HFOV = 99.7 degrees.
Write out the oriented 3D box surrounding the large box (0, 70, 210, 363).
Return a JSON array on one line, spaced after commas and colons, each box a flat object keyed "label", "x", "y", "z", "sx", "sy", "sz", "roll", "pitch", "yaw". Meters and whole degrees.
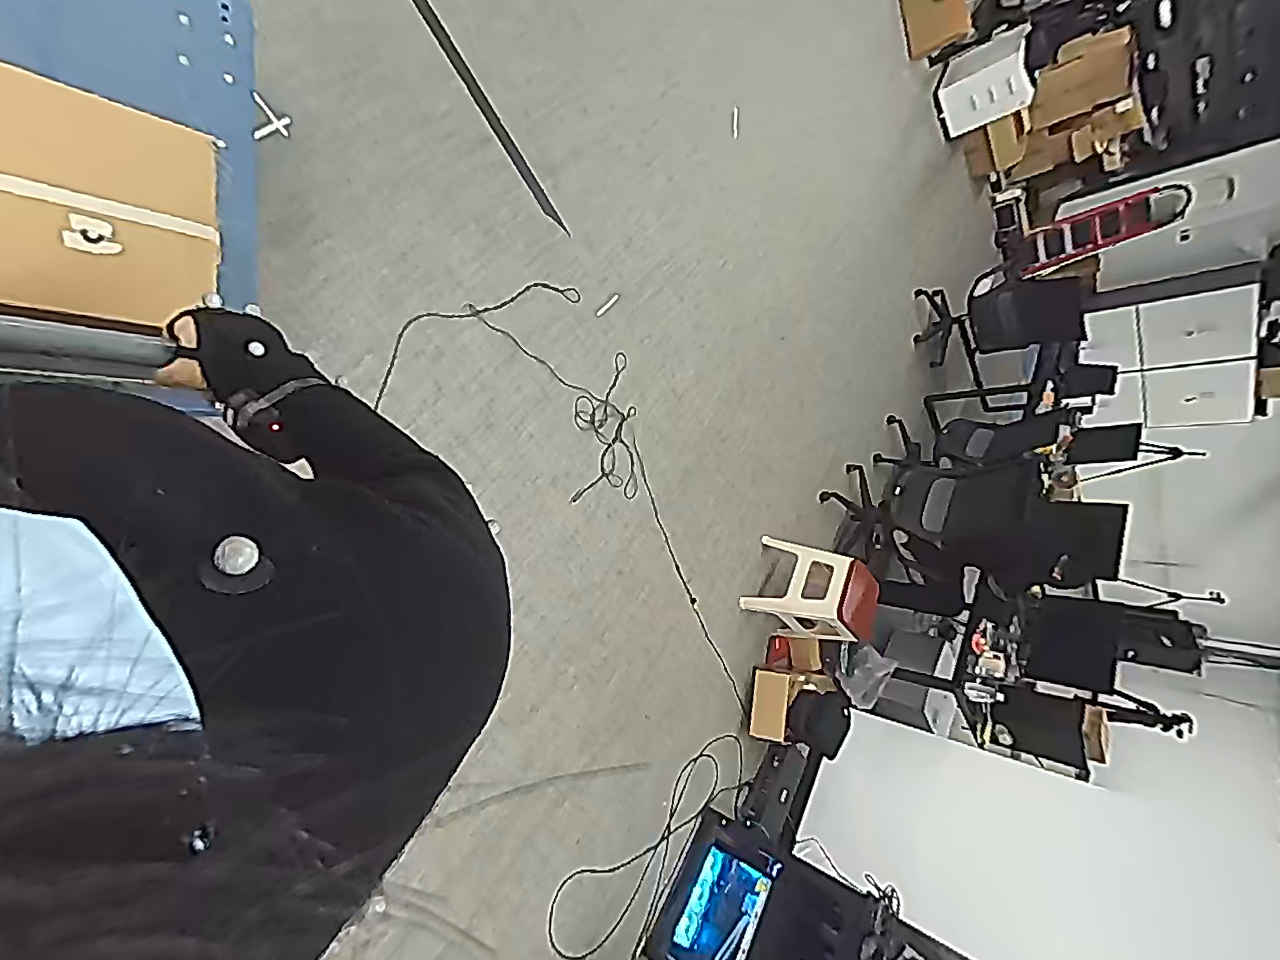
[{"label": "large box", "x": -0.922, "y": -0.376, "z": 0.810, "sx": 0.408, "sy": 0.320, "sz": 0.320, "roll": 1, "pitch": 91, "yaw": -45}]
